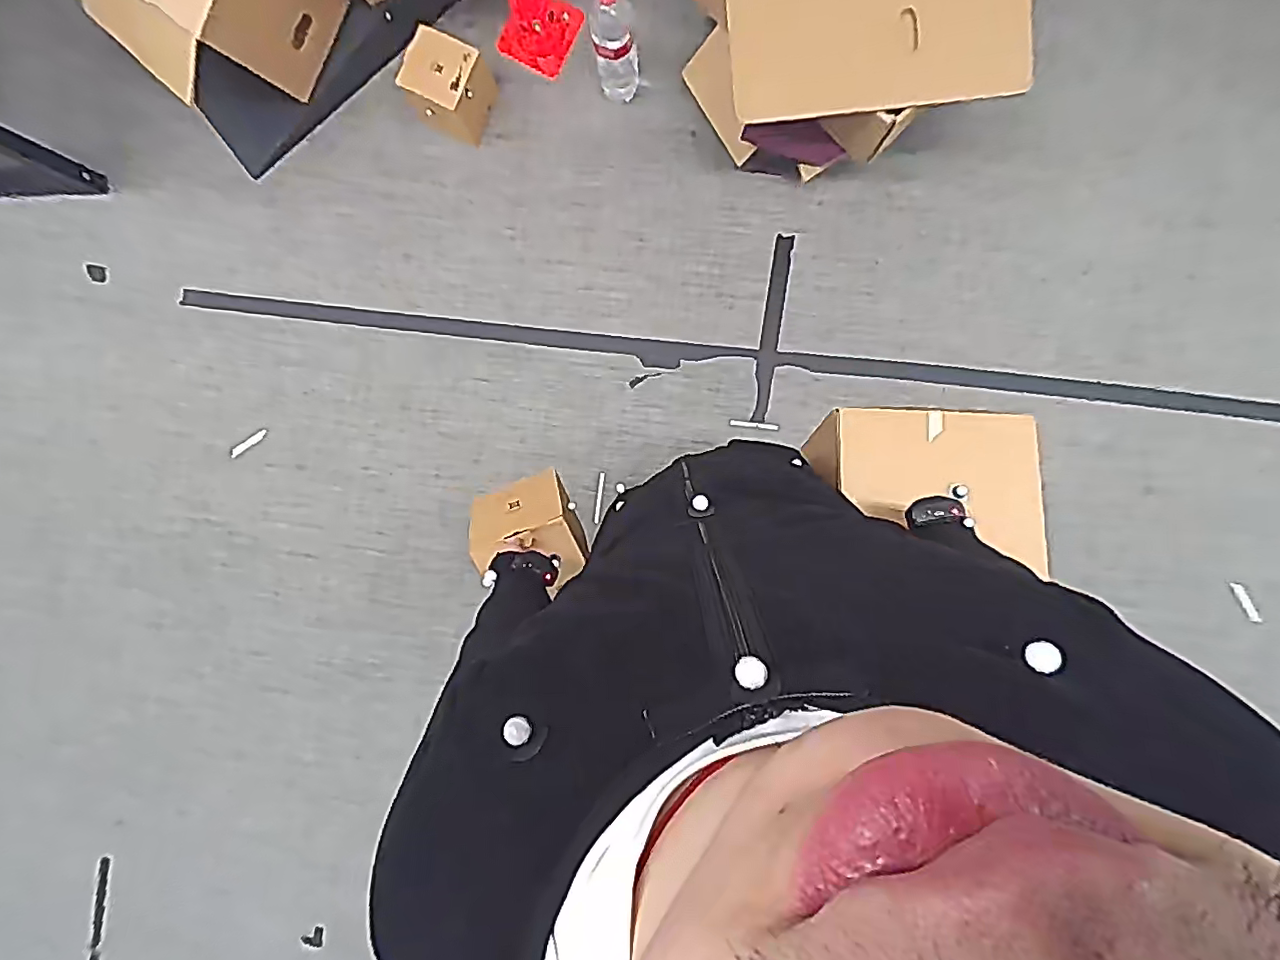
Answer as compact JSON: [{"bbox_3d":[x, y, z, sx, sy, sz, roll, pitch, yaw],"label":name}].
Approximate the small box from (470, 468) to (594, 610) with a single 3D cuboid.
[{"bbox_3d":[-0.193,0.113,0.987,0.168,0.179,0.176,-21,123,-2],"label":"small box"}]
